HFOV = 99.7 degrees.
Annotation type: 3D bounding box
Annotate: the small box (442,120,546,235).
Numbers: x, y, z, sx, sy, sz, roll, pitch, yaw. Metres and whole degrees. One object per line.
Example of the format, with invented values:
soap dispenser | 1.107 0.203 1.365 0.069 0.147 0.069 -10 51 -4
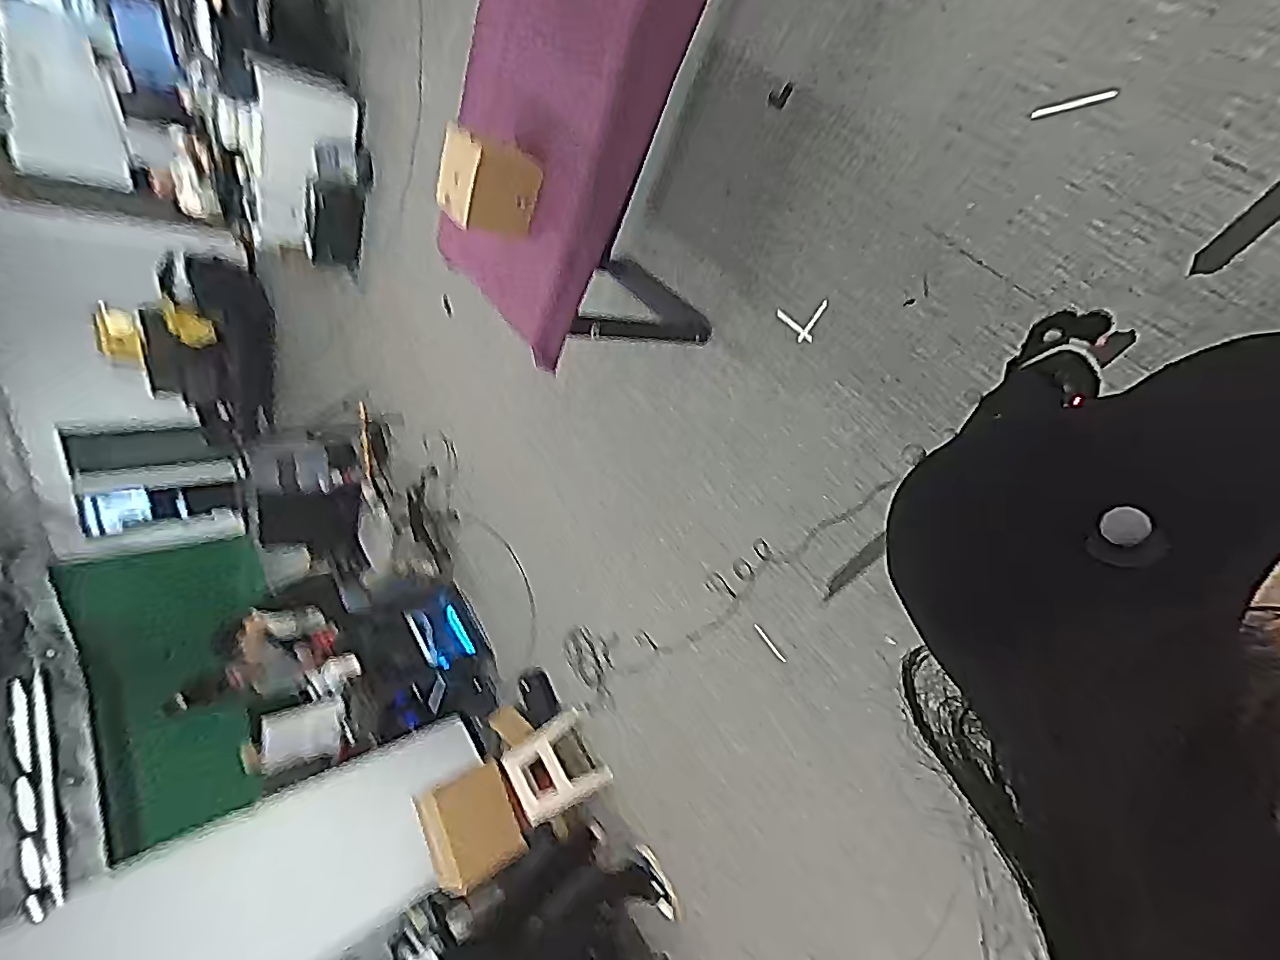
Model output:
small box | -0.349 -0.719 1.300 0.168 0.176 0.179 49 129 28
